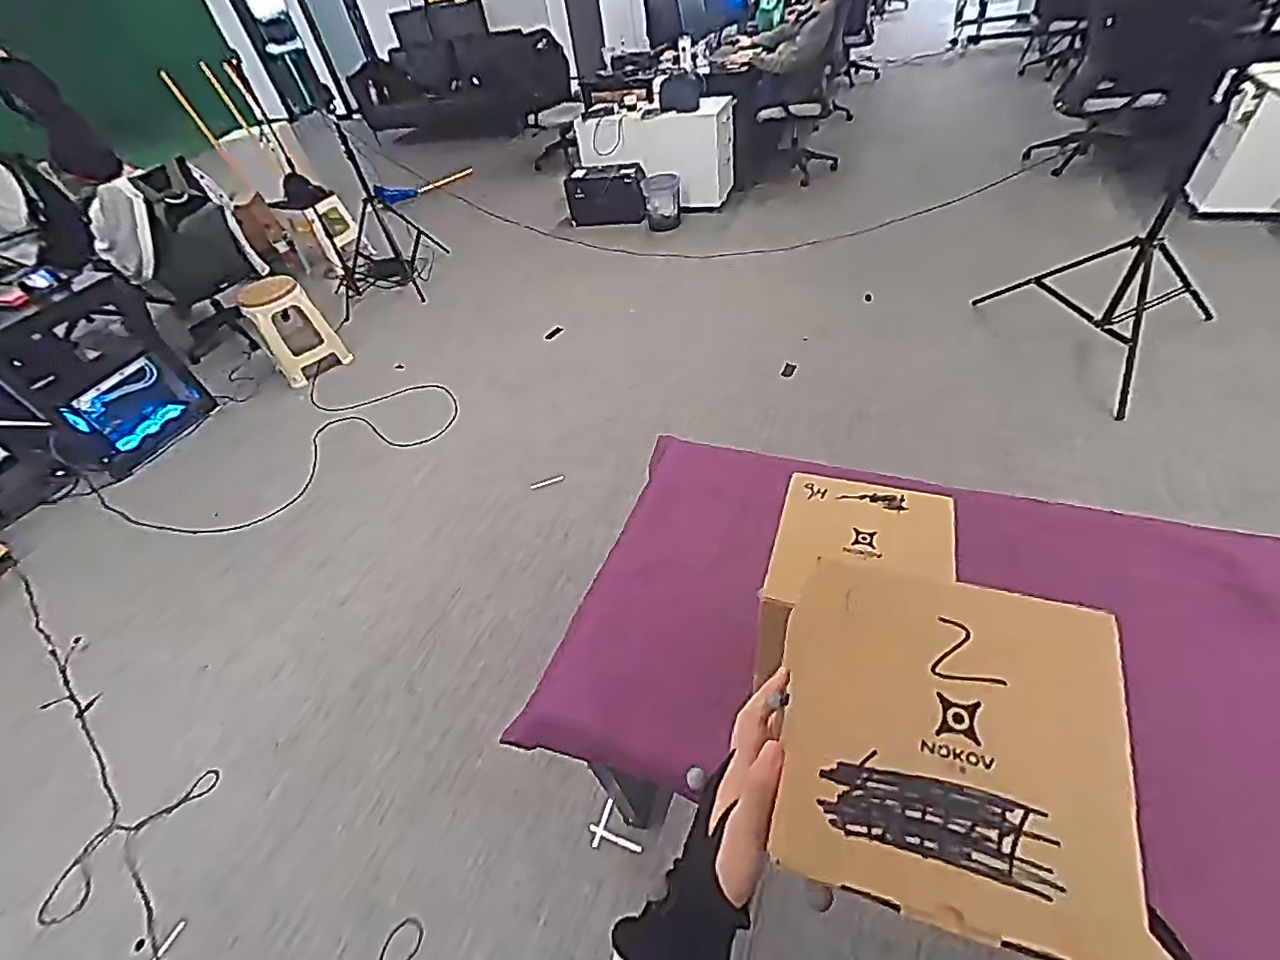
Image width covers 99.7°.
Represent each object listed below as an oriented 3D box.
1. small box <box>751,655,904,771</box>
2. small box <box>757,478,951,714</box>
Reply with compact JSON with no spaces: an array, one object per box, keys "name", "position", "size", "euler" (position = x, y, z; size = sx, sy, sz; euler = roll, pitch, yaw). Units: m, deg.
[{"name":"small box","position":[0.249,0.246,0.707],"size":[0.168,0.176,0.179],"euler":[13,49,21]},{"name":"small box","position":[0.229,0.127,0.596],"size":[0.168,0.176,0.179],"euler":[11,49,19]}]
